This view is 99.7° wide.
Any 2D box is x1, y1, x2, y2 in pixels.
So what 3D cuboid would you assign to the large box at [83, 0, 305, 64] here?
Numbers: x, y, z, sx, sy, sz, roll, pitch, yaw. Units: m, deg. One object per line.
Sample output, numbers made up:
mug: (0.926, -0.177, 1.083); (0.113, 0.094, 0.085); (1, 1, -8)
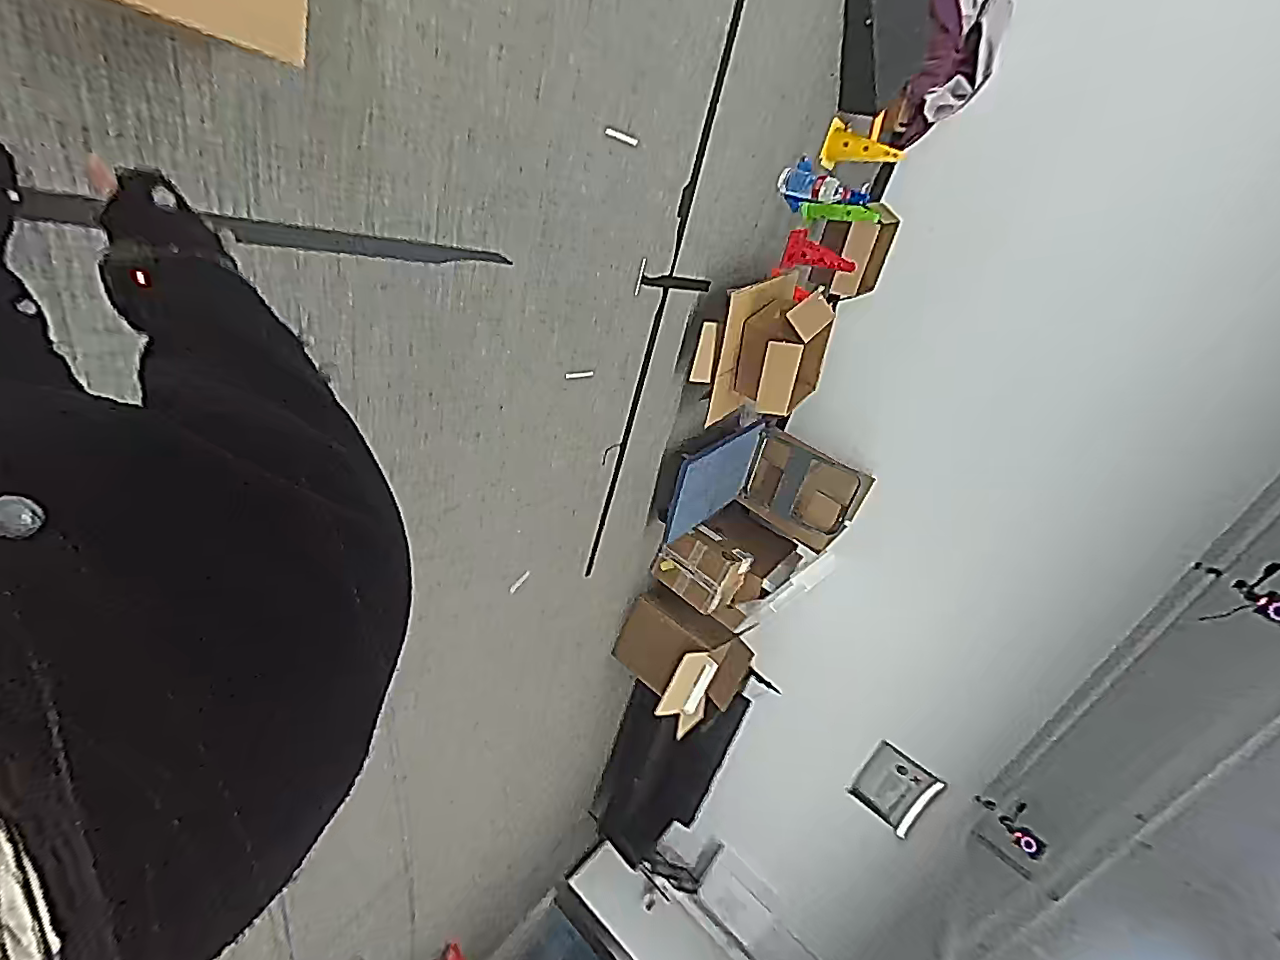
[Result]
large box: (-0.698, -0.784, 0.666); (0.408, 0.320, 0.320); (-18, 133, -52)
